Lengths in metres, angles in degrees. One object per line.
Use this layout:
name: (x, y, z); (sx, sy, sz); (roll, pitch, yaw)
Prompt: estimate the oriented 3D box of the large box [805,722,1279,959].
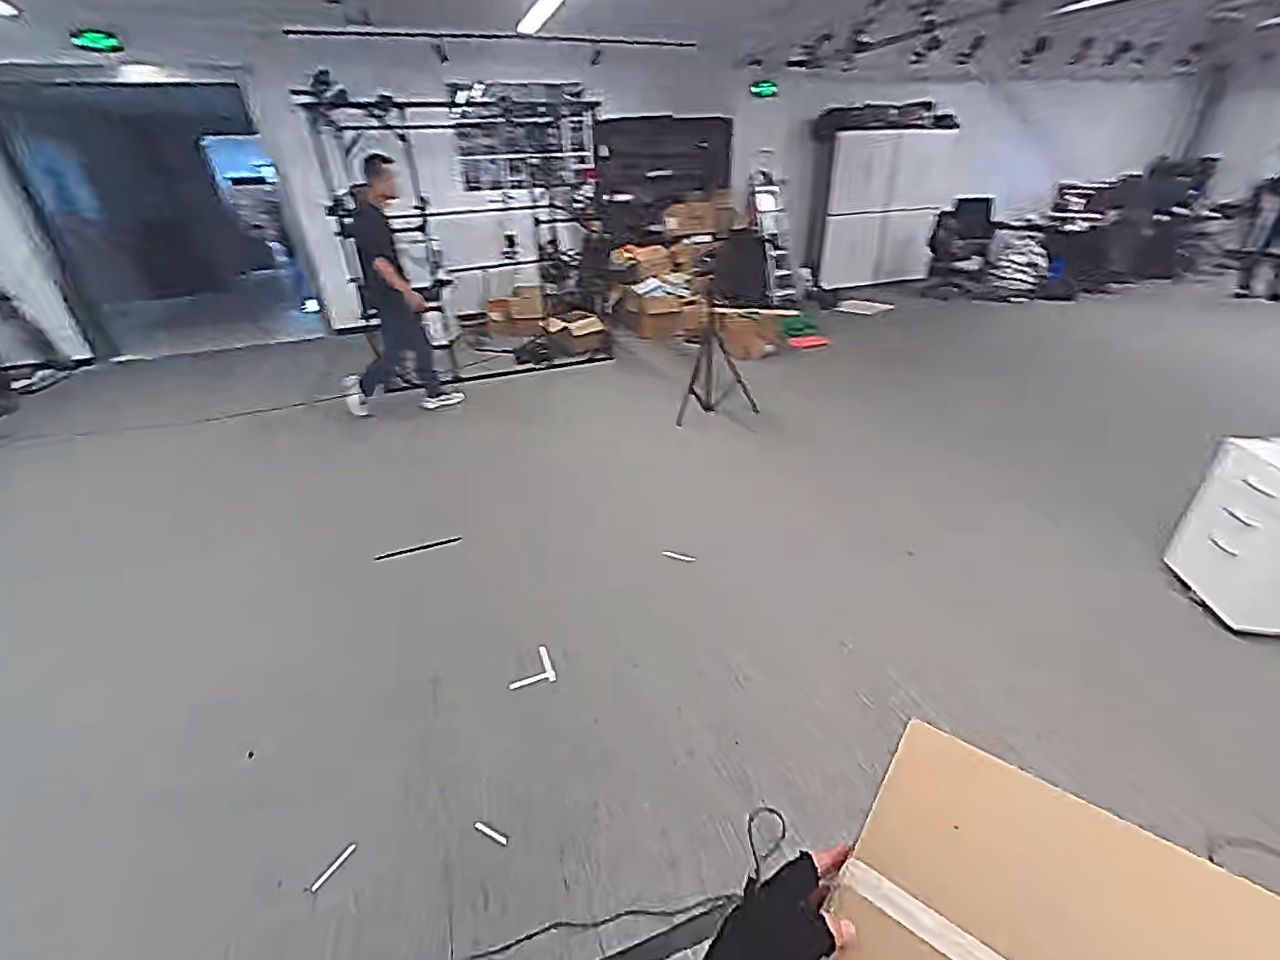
large box: (0.332, 0.477, 0.395); (0.408, 0.320, 0.320); (19, 43, 35)
